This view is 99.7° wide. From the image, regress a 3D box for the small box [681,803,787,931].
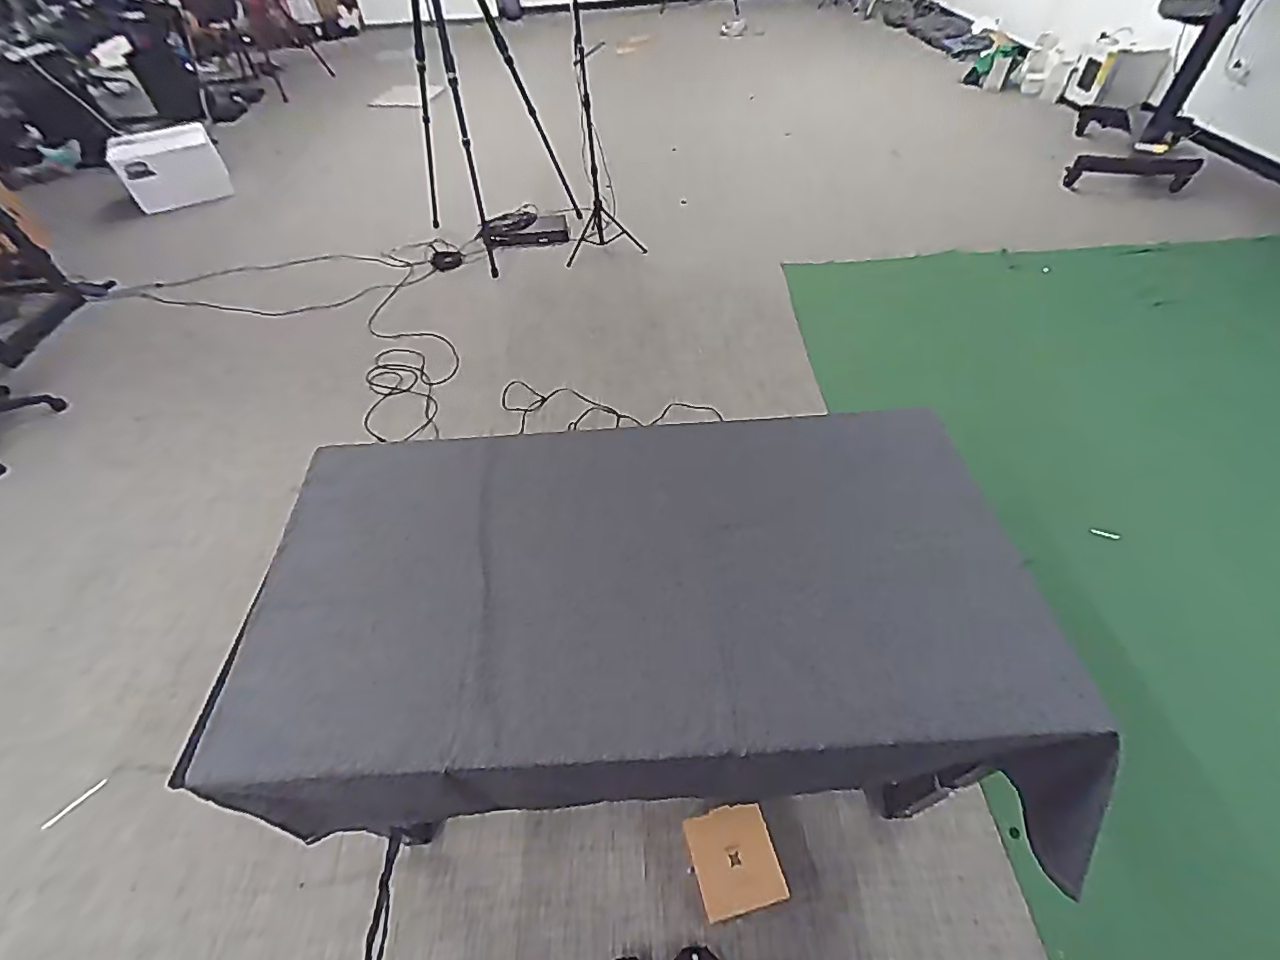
[{"bbox_3d":[0.185,0.810,1.131,0.168,0.176,0.179,-13,49,-7],"label":"small box"}]
